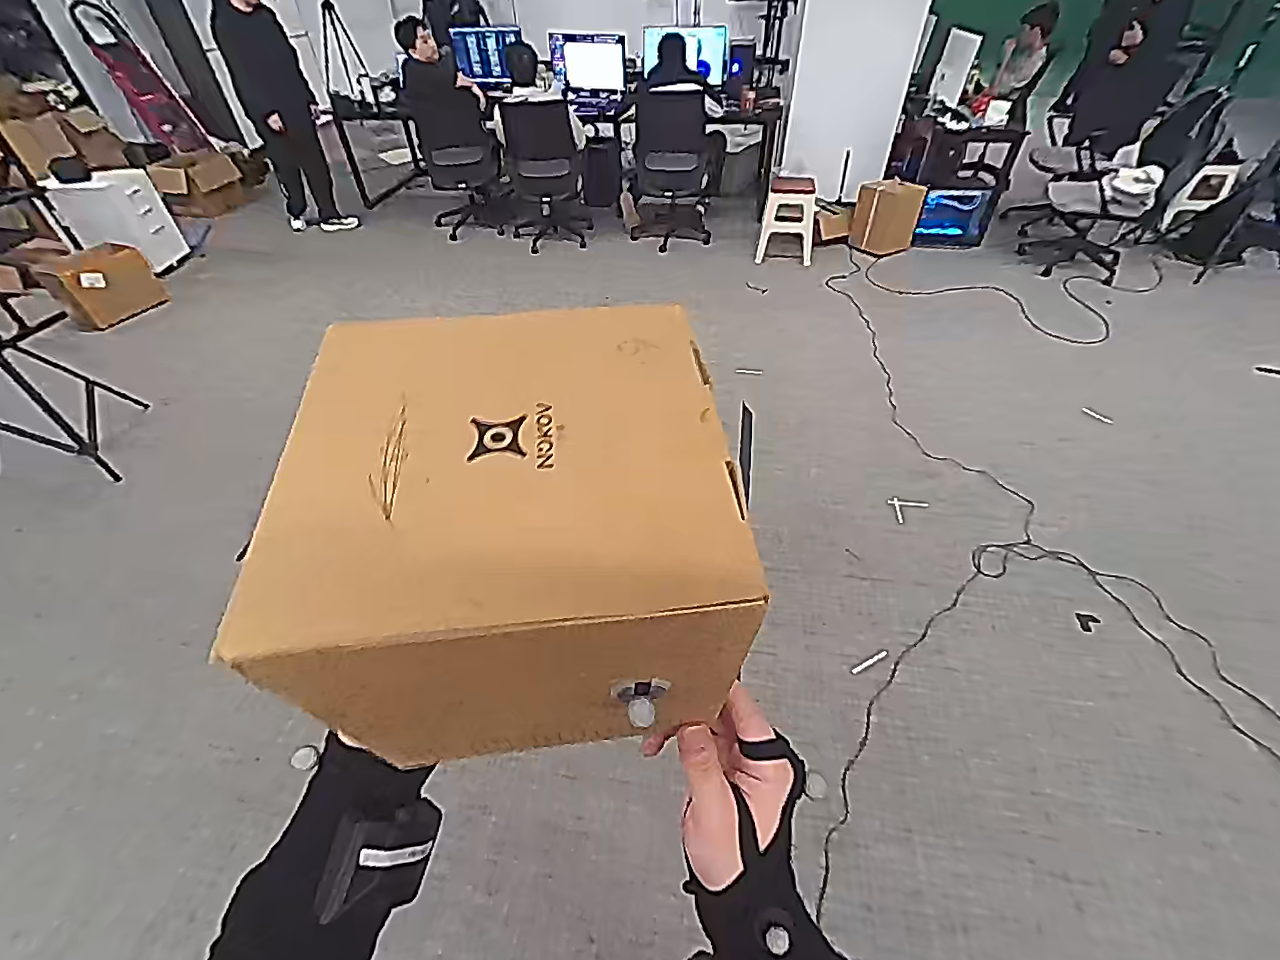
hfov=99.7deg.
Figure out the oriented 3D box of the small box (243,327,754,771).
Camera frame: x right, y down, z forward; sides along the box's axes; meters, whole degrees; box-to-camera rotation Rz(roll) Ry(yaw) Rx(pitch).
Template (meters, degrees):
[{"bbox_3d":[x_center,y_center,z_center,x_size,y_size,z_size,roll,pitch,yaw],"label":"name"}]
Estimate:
[{"bbox_3d":[-0.056,0.042,0.294,0.179,0.176,0.168,-7,52,-5],"label":"small box"}]
